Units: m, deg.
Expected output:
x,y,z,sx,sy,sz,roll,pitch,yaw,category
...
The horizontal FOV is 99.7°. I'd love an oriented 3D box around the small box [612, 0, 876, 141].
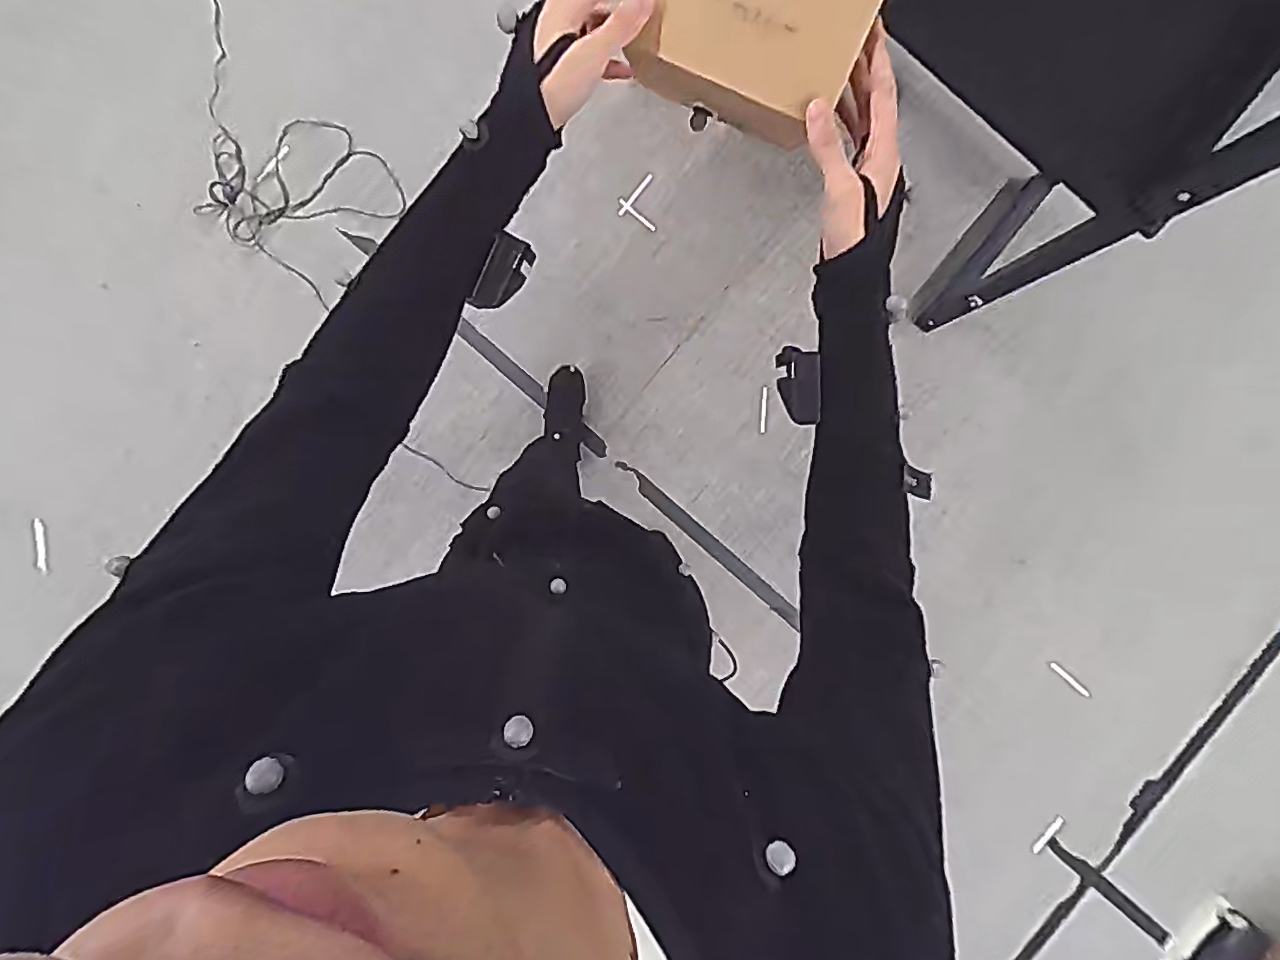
x,y,z,sx,sy,sz,roll,pitch,yaw,category
0.093,-0.391,0.406,0.168,0.176,0.179,22,115,-3,small box
